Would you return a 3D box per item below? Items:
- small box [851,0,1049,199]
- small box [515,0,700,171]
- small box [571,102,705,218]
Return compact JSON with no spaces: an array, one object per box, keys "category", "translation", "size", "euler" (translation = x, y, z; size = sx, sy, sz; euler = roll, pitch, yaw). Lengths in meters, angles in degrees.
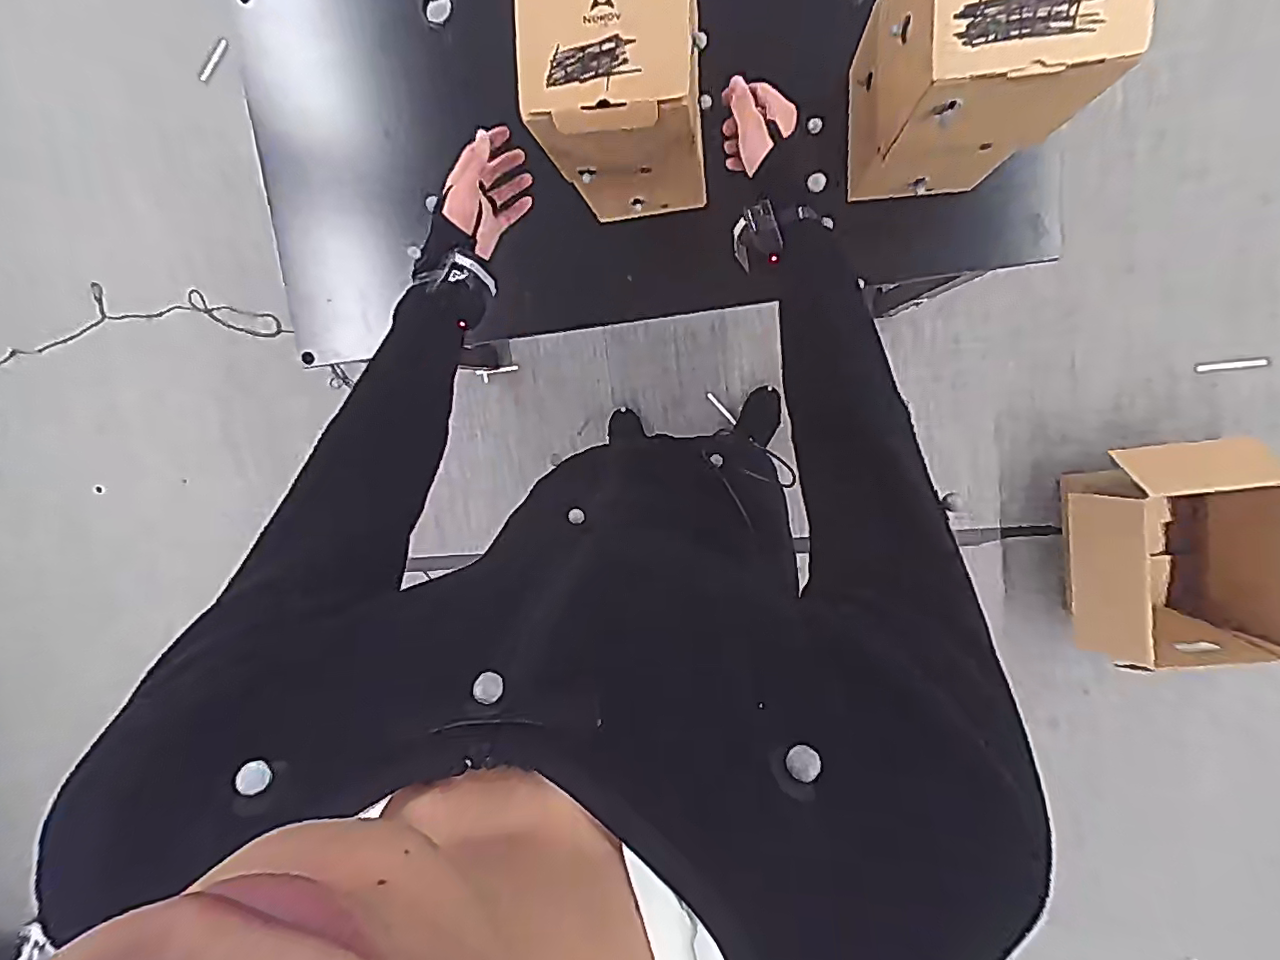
[{"category":"small box","translation":[0.365,-0.474,0.669],"size":[0.168,0.176,0.179],"euler":[0,99,10]},{"category":"small box","translation":[-0.022,-0.444,0.567],"size":[0.168,0.176,0.179],"euler":[1,99,8]},{"category":"small box","translation":[-0.001,-0.479,0.726],"size":[0.168,0.176,0.179],"euler":[-4,99,9]}]
